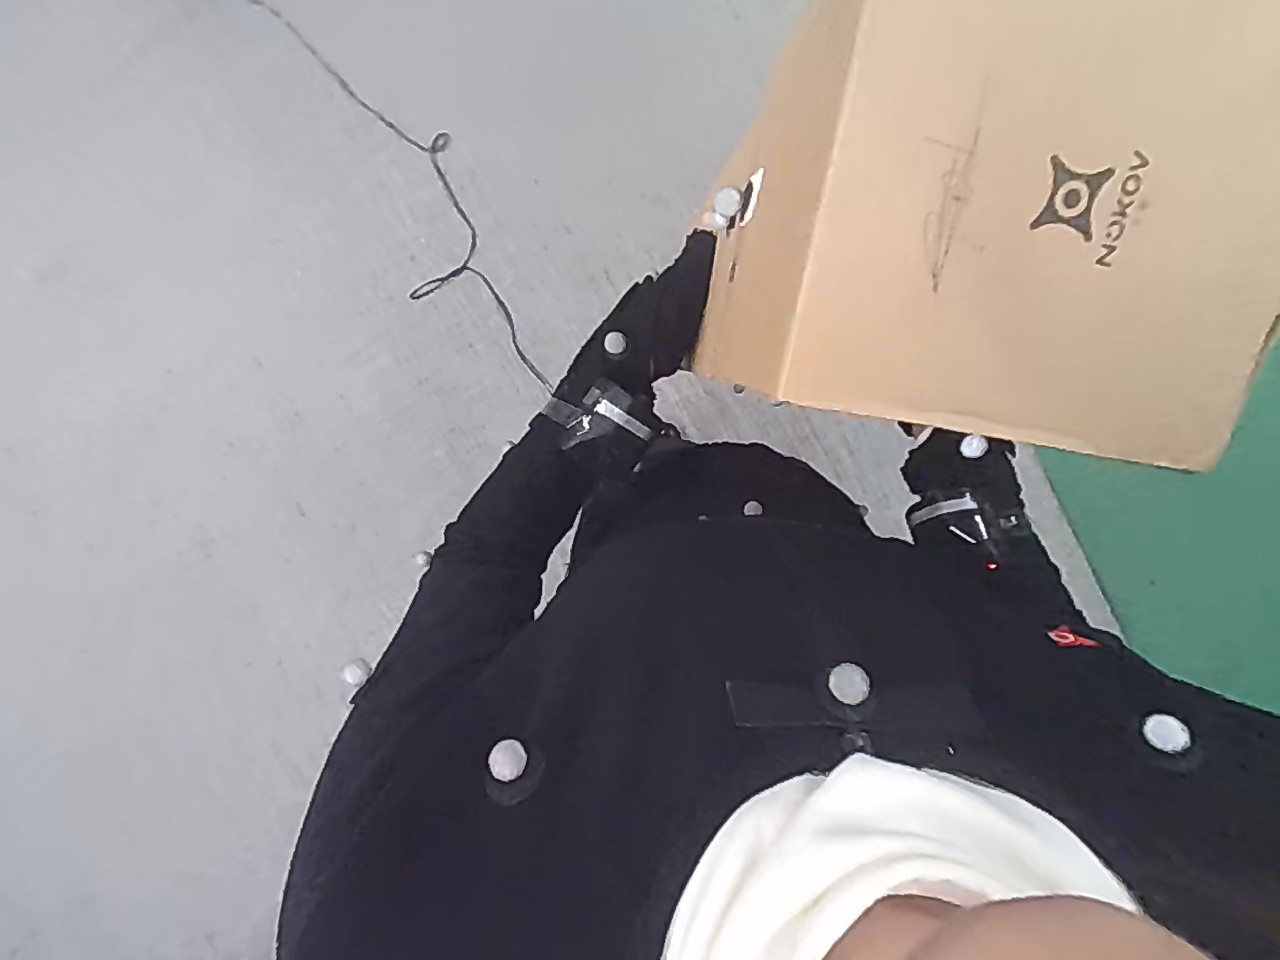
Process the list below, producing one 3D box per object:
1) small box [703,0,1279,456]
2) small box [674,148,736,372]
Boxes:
[{"bbox_3d":[0.138,-0.118,0.264,0.179,0.176,0.168,7,104,-3],"label":"small box"},{"bbox_3d":[0.134,-0.158,0.421,0.179,0.176,0.168,9,104,-5],"label":"small box"}]
